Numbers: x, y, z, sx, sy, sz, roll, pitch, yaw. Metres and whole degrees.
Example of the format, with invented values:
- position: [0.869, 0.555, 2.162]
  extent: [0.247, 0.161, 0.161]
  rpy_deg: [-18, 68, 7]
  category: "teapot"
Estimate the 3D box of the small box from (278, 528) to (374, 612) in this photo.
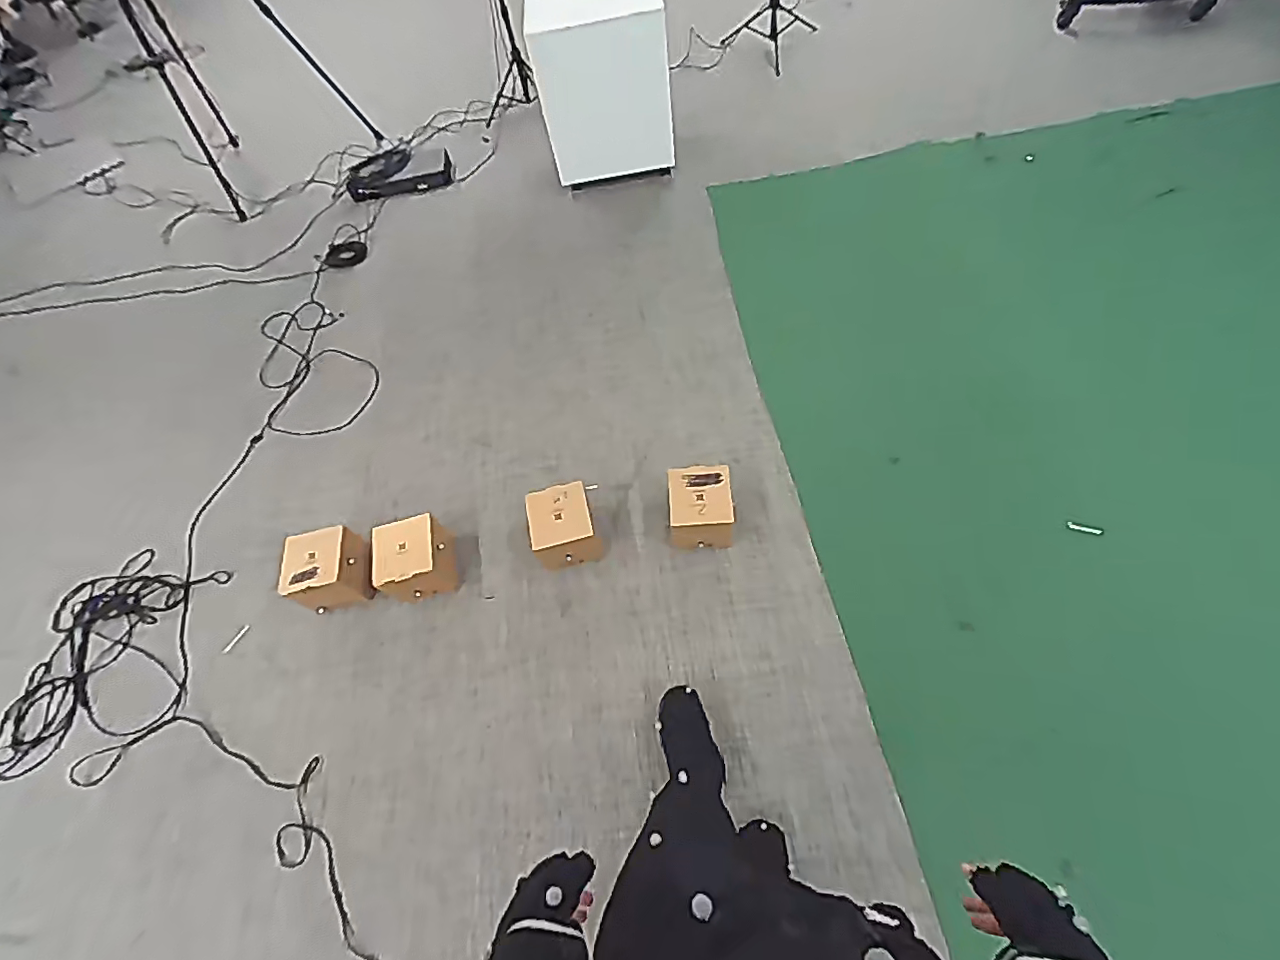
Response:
- position: [-0.878, 0.263, 1.530]
  extent: [0.168, 0.176, 0.179]
  rpy_deg: [-13, 59, 0]
  category: "small box"

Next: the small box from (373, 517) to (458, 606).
- position: [-0.625, 0.232, 1.515]
  extent: [0.168, 0.176, 0.179]
  rpy_deg: [-15, 60, -1]
  category: "small box"

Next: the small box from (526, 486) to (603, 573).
- position: [-0.207, 0.146, 1.509]
  extent: [0.168, 0.176, 0.179]
  rpy_deg: [-14, 60, -2]
  category: "small box"
